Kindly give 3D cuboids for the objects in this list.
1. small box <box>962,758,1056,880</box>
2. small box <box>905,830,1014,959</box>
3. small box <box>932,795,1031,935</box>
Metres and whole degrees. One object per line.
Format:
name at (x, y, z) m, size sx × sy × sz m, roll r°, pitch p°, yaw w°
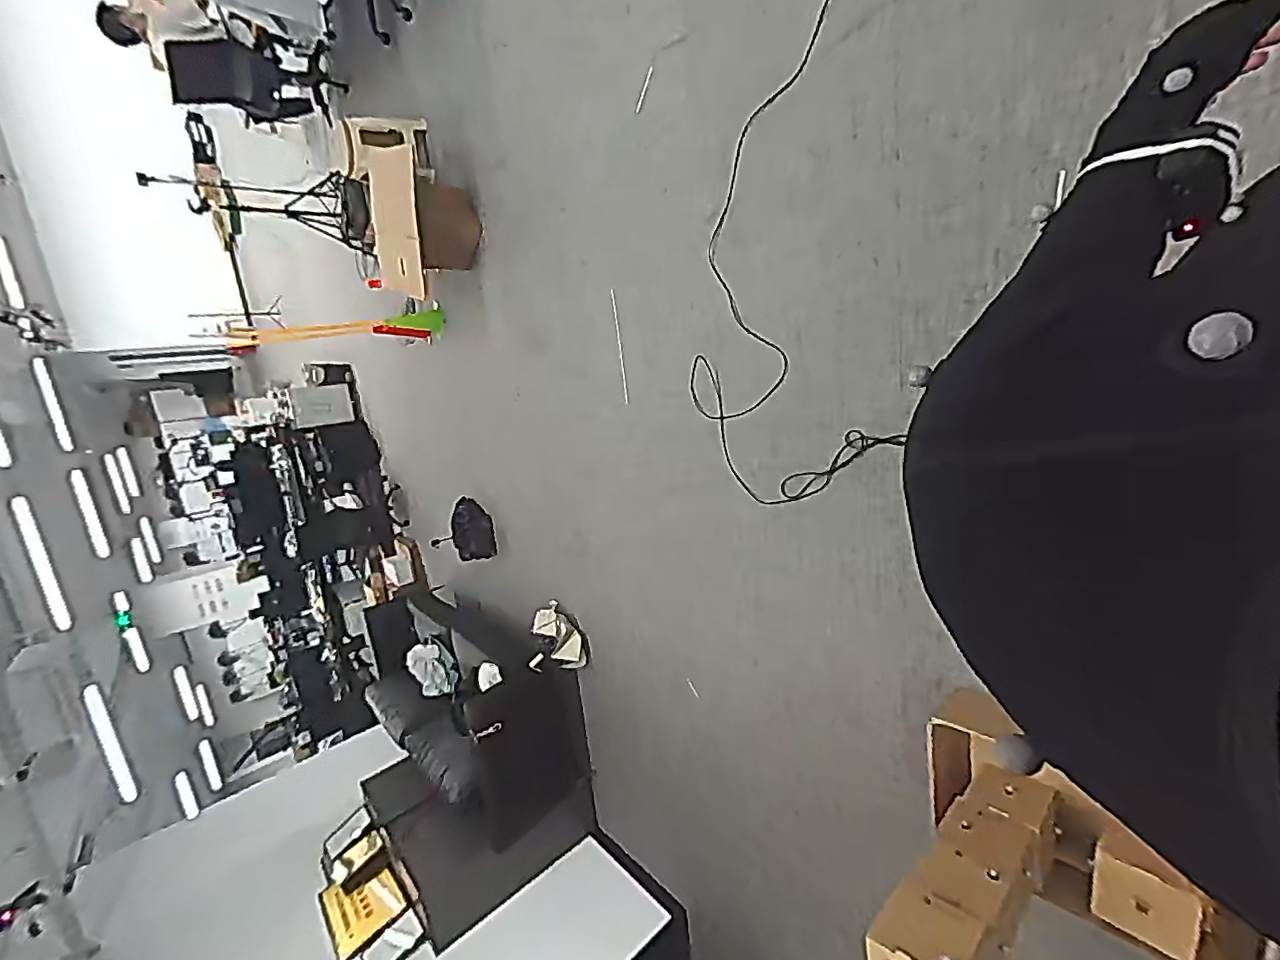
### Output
small box at (0.952, 0.858, 1.392) m, size 0.168 × 0.176 × 0.179 m, roll -2°, pitch 103°, yaw 48°
small box at (0.703, 0.928, 1.190) m, size 0.168 × 0.176 × 0.179 m, roll 6°, pitch 108°, yaw 49°
small box at (0.810, 0.901, 1.287) m, size 0.168 × 0.176 × 0.179 m, roll 5°, pitch 107°, yaw 48°
